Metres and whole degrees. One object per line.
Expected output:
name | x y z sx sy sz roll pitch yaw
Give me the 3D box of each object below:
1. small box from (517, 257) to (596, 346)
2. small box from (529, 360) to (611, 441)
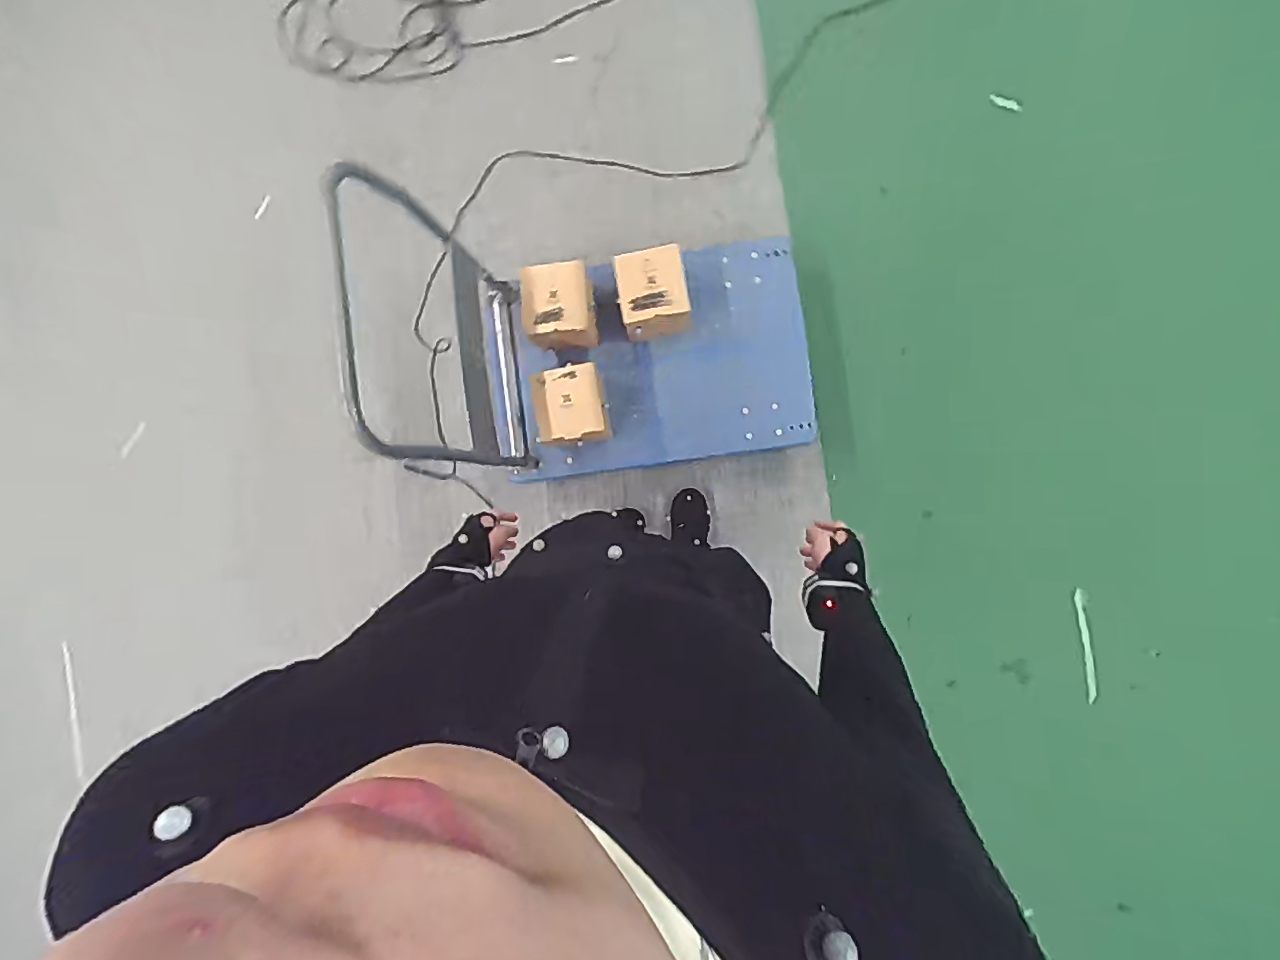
small box | -0.213 -0.459 1.420 0.168 0.176 0.179 -5 88 4
small box | -0.177 -0.199 1.412 0.168 0.176 0.179 -10 89 3
